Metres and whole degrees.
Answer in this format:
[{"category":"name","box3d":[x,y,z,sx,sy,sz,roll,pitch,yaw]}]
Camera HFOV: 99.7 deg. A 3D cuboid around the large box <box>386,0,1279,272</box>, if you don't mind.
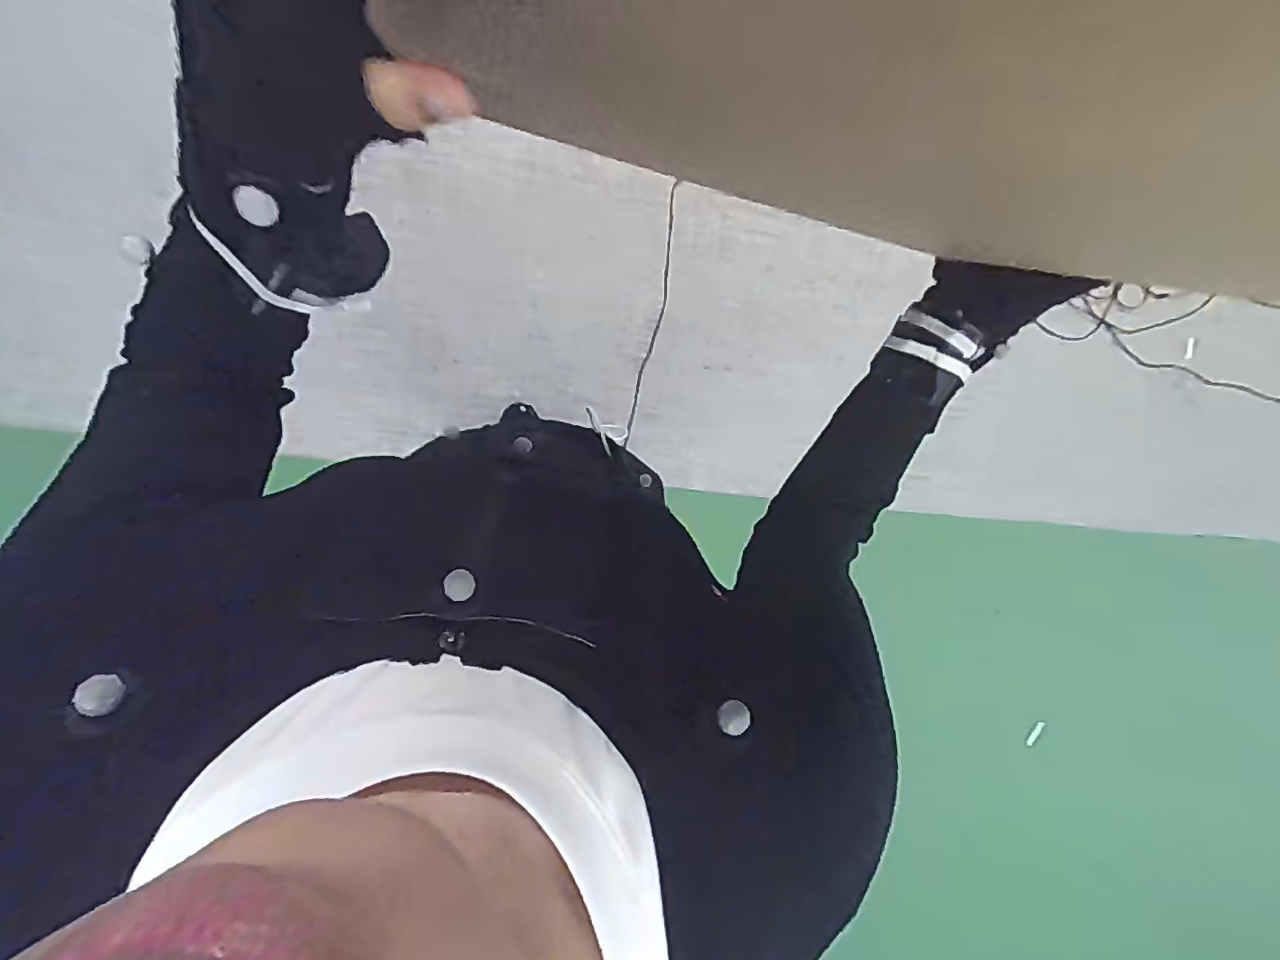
[{"category":"large box","box3d":[0.163,-0.247,0.139,0.408,0.320,0.320,-2,118,-30]}]
